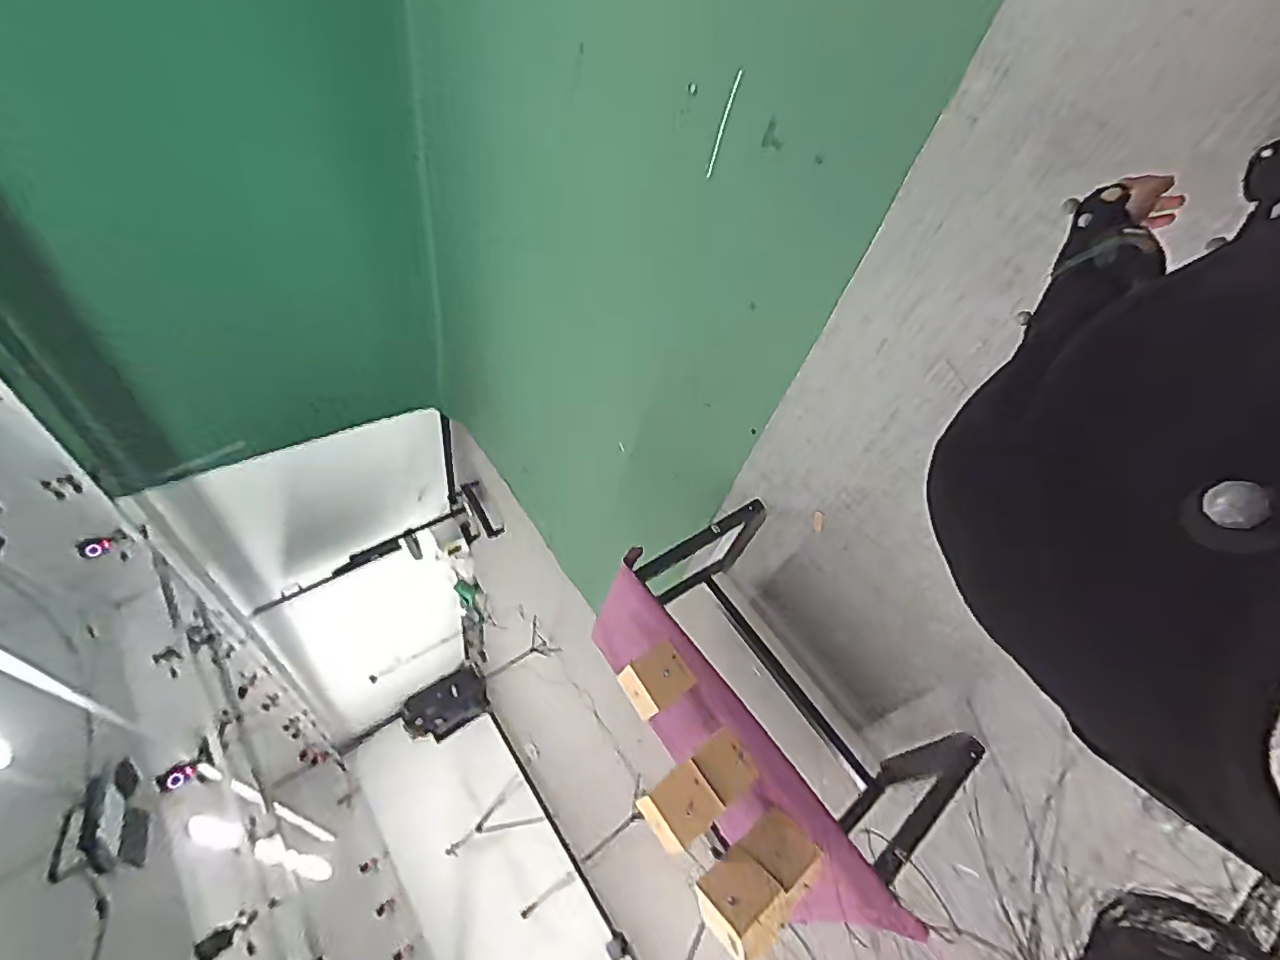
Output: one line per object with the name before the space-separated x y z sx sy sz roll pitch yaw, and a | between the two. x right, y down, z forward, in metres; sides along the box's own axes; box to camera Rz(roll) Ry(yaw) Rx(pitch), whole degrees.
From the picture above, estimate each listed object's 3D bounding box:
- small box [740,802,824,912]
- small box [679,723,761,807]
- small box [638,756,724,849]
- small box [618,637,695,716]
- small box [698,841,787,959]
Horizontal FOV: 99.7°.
small box | 0.409 1.089 1.568 0.179 0.176 0.168 32 136 42
small box | 0.245 0.887 1.673 0.168 0.176 0.179 50 147 21
small box | 0.122 0.937 1.578 0.168 0.176 0.179 49 148 21
small box | 0.058 0.643 1.776 0.168 0.176 0.179 54 147 18
small box | 0.285 1.142 1.472 0.179 0.176 0.168 21 128 51
